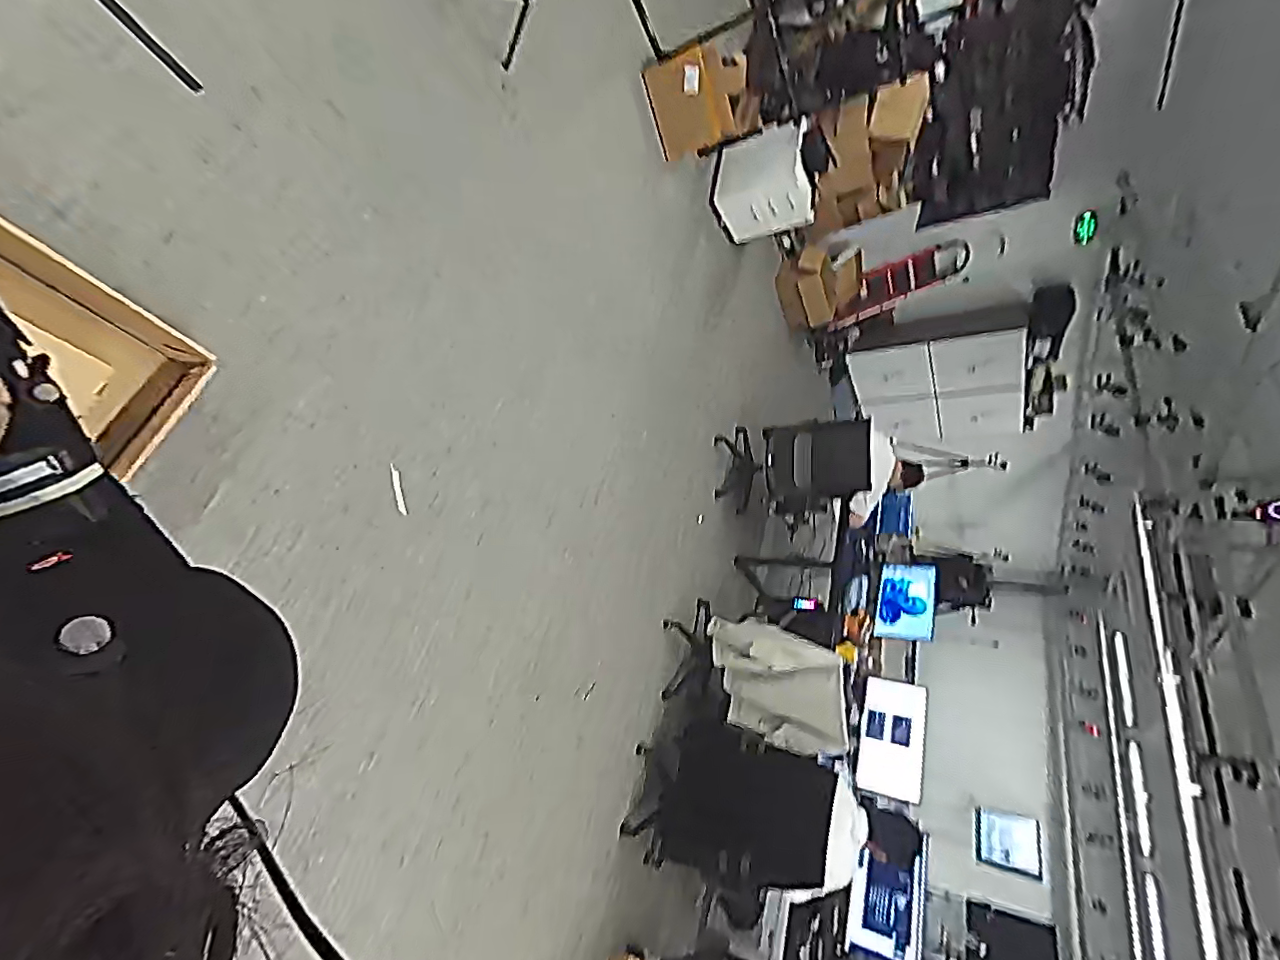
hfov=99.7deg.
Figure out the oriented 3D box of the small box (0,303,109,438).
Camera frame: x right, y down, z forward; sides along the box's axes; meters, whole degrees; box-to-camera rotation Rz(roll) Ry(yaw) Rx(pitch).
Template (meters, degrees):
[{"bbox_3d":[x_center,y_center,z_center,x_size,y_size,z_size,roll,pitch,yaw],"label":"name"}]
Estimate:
[{"bbox_3d":[-1.113,-0.186,0.952,0.179,0.176,0.168,46,52,-45],"label":"small box"}]
